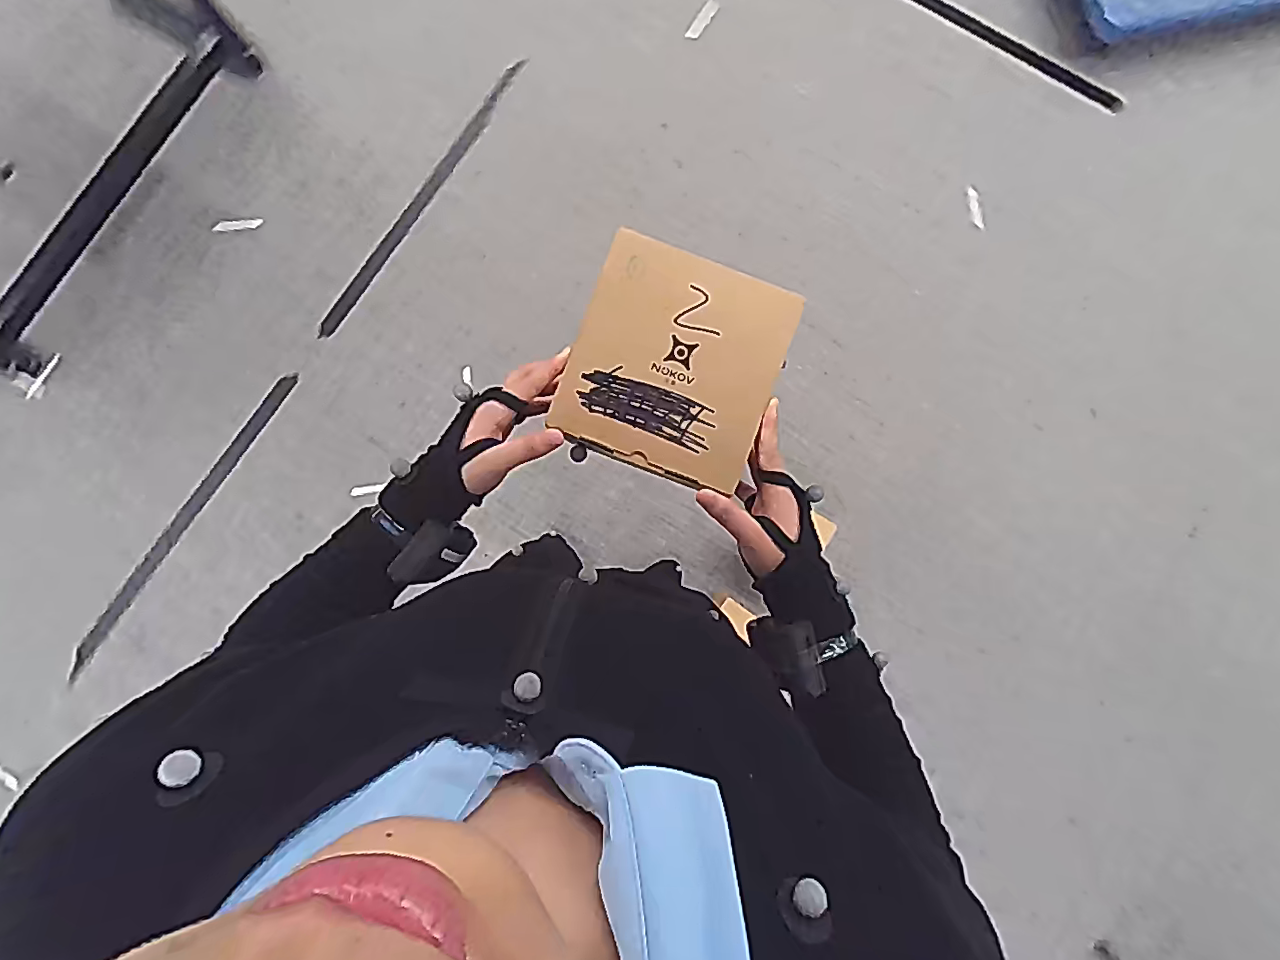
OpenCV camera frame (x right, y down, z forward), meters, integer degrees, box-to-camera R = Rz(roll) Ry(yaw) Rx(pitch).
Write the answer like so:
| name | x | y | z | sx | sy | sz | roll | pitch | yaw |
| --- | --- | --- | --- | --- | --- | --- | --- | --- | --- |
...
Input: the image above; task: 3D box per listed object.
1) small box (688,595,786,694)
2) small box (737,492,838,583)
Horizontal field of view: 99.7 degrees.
| name | x | y | z | sx | sy | sz | roll | pitch | yaw |
| --- | --- | --- | --- | --- | --- | --- | --- | --- | --- |
| small box | 0.240 | 0.411 | 1.388 | 0.179 | 0.176 | 0.168 | 36 | 85 | 4 |
| small box | 0.379 | 0.149 | 1.421 | 0.179 | 0.176 | 0.168 | 34 | 84 | 4 |
